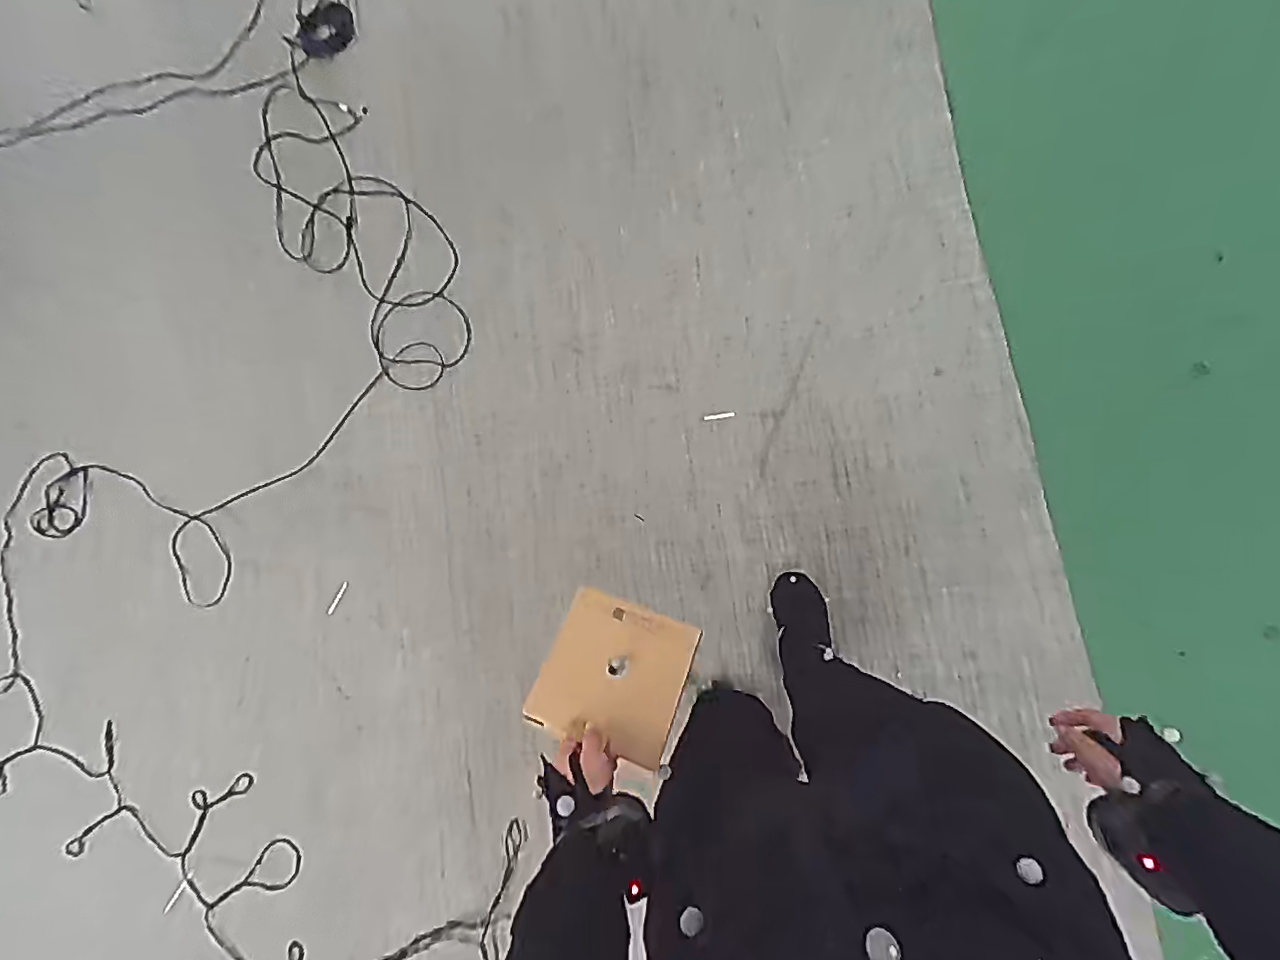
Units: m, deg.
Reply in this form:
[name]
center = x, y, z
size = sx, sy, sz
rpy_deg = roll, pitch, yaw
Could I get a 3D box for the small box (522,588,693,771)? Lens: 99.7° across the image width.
[small box]
center = -0.034, 0.262, 0.712
size = 0.168, 0.179, 0.176
rpy_deg = 18, 61, 9
